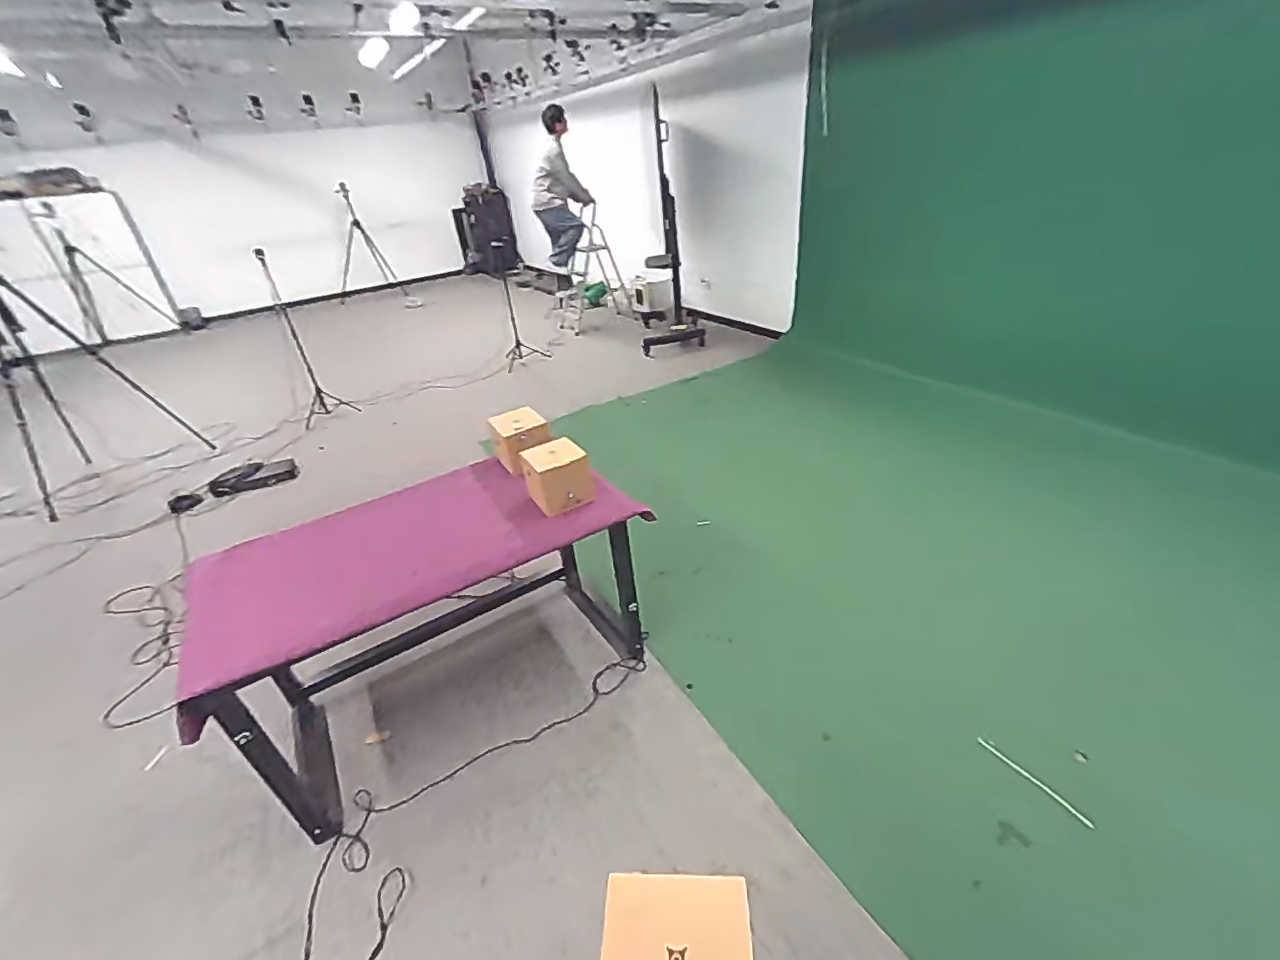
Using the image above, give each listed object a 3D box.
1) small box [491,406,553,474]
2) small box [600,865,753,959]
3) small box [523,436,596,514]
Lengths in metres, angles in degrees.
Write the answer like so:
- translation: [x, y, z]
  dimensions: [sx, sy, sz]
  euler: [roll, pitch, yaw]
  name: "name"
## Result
- translation: [-0.423, -0.146, 1.973]
  dimensions: [0.168, 0.176, 0.179]
  euler: [-24, 37, -23]
  name: "small box"
- translation: [0.041, 0.577, 0.610]
  dimensions: [0.168, 0.176, 0.179]
  euler: [-2, 29, 4]
  name: "small box"
- translation: [-0.256, -0.015, 1.731]
  dimensions: [0.168, 0.176, 0.179]
  euler: [-22, 34, -22]
  name: "small box"
